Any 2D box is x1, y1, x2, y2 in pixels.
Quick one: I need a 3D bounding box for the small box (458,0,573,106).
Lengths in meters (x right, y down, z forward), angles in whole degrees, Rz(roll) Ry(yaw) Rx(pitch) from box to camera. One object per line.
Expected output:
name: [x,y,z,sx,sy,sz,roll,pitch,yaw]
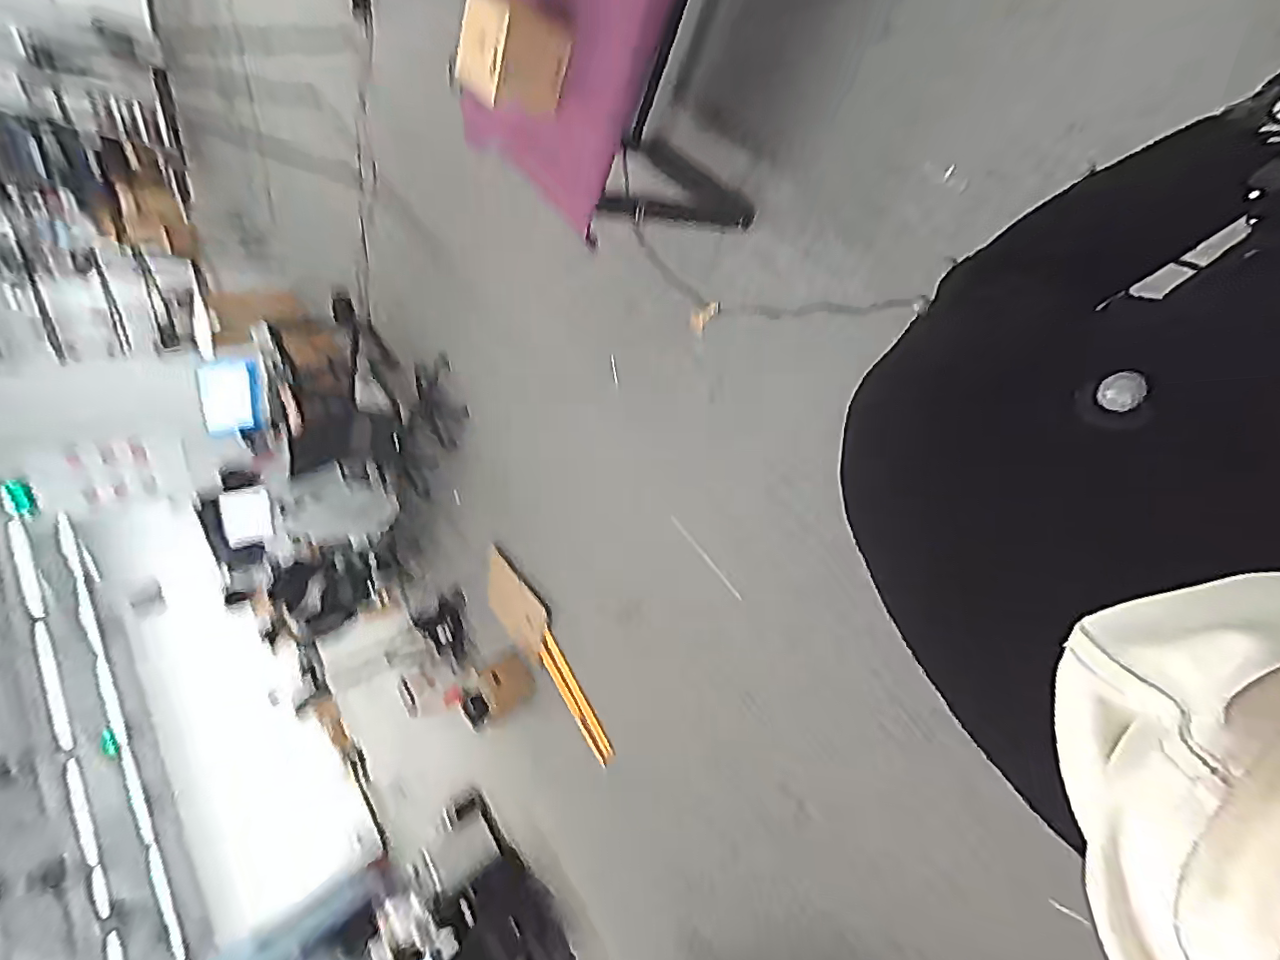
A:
small box: [-0.279,-0.974,1.211,0.179,0.176,0.168,51,136,22]
